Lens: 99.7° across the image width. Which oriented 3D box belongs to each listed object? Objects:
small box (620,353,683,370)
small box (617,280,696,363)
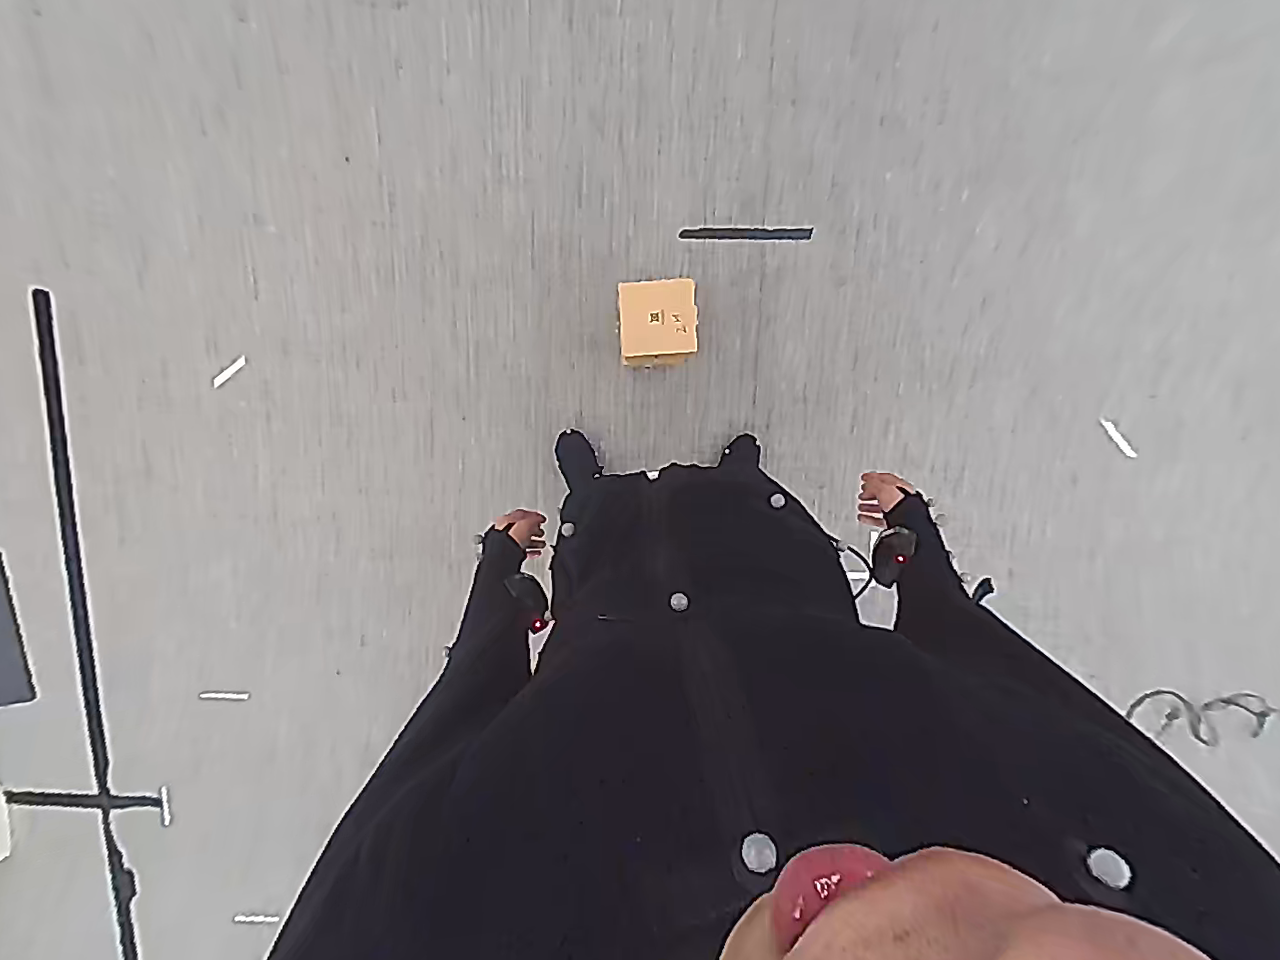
[{"bbox_3d":[0.029,-0.397,1.473,0.168,0.176,0.179,-2,99,1],"label":"small box"},{"bbox_3d":[0.041,-0.377,1.310,0.179,0.176,0.168,-3,98,1],"label":"small box"}]
